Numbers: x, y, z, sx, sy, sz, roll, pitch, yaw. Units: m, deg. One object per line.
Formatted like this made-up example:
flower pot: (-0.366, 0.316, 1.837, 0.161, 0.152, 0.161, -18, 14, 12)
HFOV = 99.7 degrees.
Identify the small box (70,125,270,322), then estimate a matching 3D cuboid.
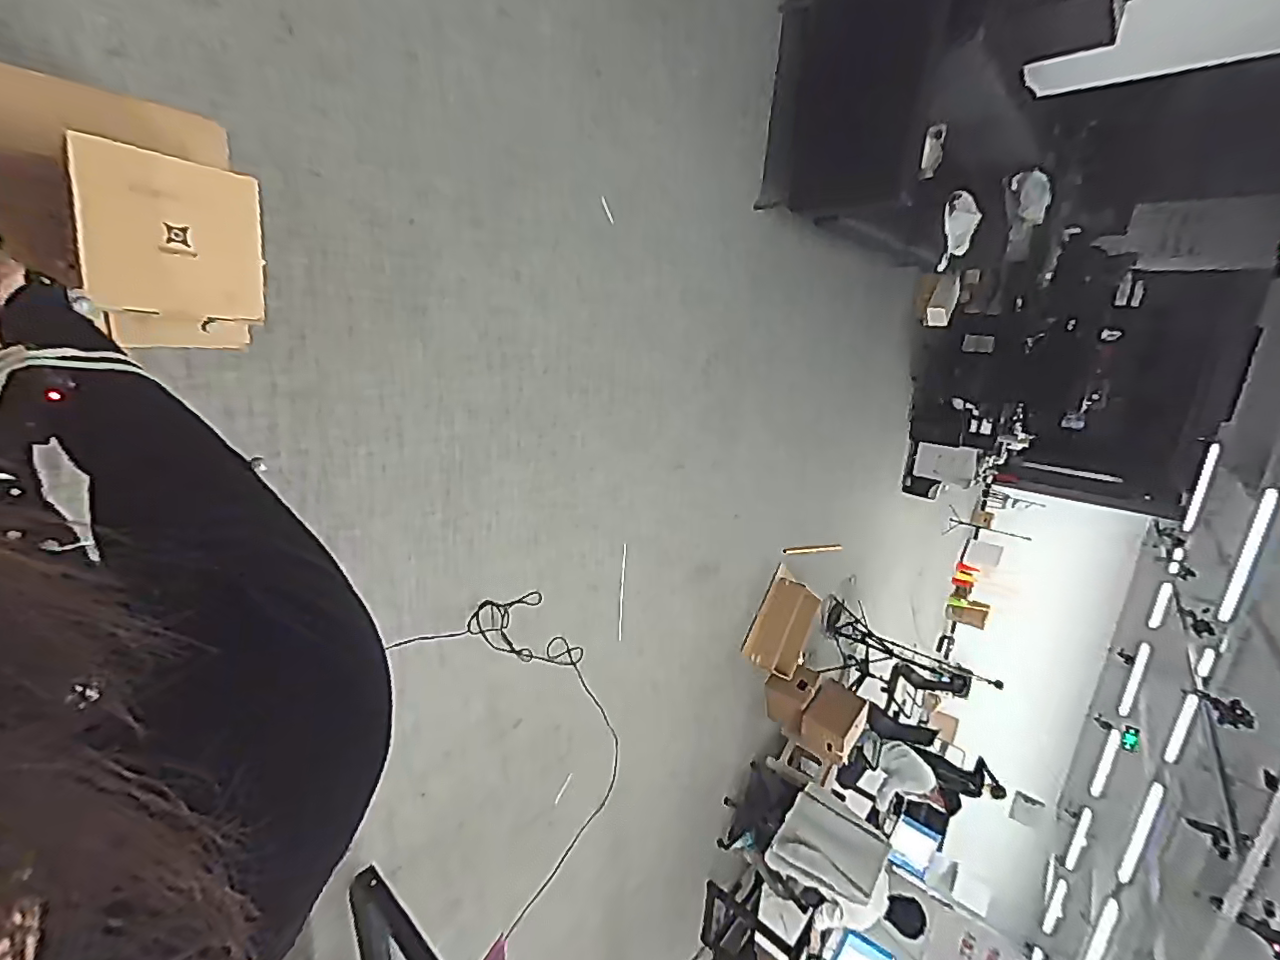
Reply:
small box: (-0.581, -0.300, 0.673, 0.168, 0.176, 0.179, -8, 108, -48)
